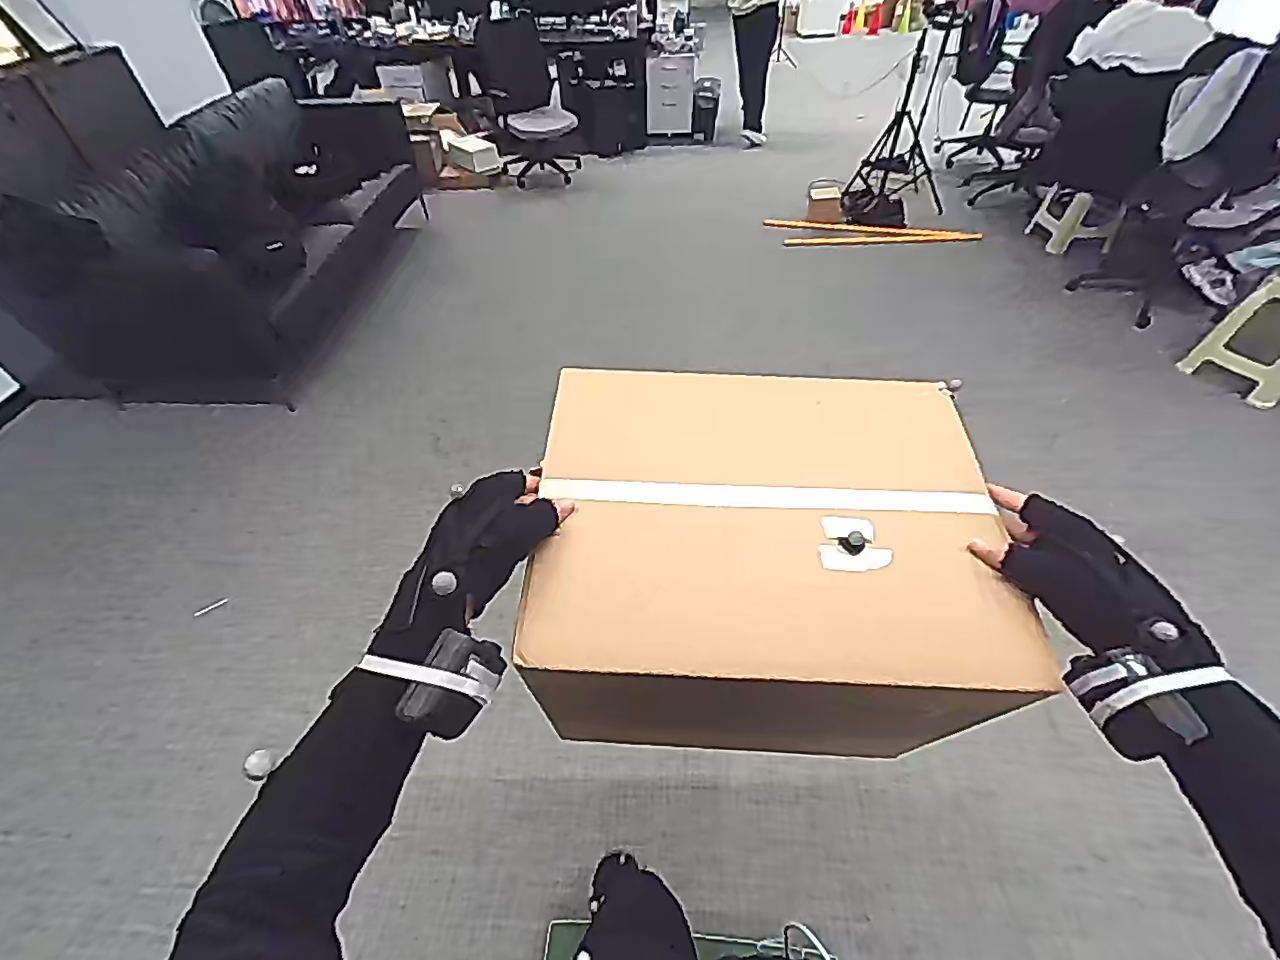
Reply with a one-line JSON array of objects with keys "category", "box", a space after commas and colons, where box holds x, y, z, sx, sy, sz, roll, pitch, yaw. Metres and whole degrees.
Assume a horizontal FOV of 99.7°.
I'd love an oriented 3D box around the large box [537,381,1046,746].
[{"category": "large box", "box": [0.116, 0.108, 0.621, 0.408, 0.320, 0.320, 2, 55, 0]}]
